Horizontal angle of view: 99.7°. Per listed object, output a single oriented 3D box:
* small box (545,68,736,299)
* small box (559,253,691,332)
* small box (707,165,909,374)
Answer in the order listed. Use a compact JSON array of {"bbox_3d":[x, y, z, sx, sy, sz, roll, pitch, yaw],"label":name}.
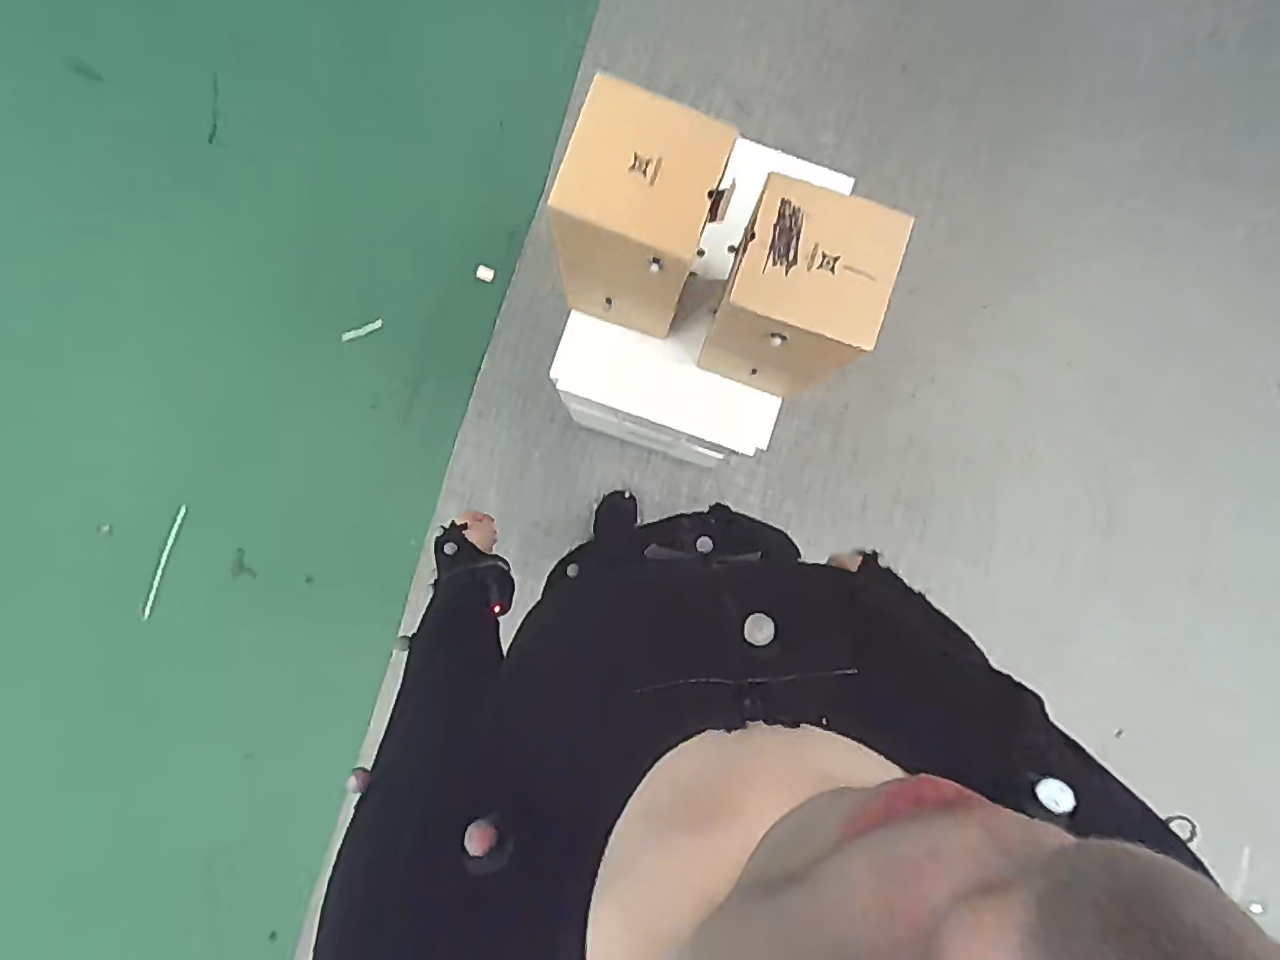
[{"bbox_3d":[-0.005,-0.355,0.684,0.179,0.176,0.168,20,86,-5],"label":"small box"},{"bbox_3d":[-0.015,-0.352,0.849,0.179,0.176,0.168,18,87,-4],"label":"small box"},{"bbox_3d":[0.198,-0.251,0.689,0.179,0.176,0.168,19,87,-1],"label":"small box"}]
